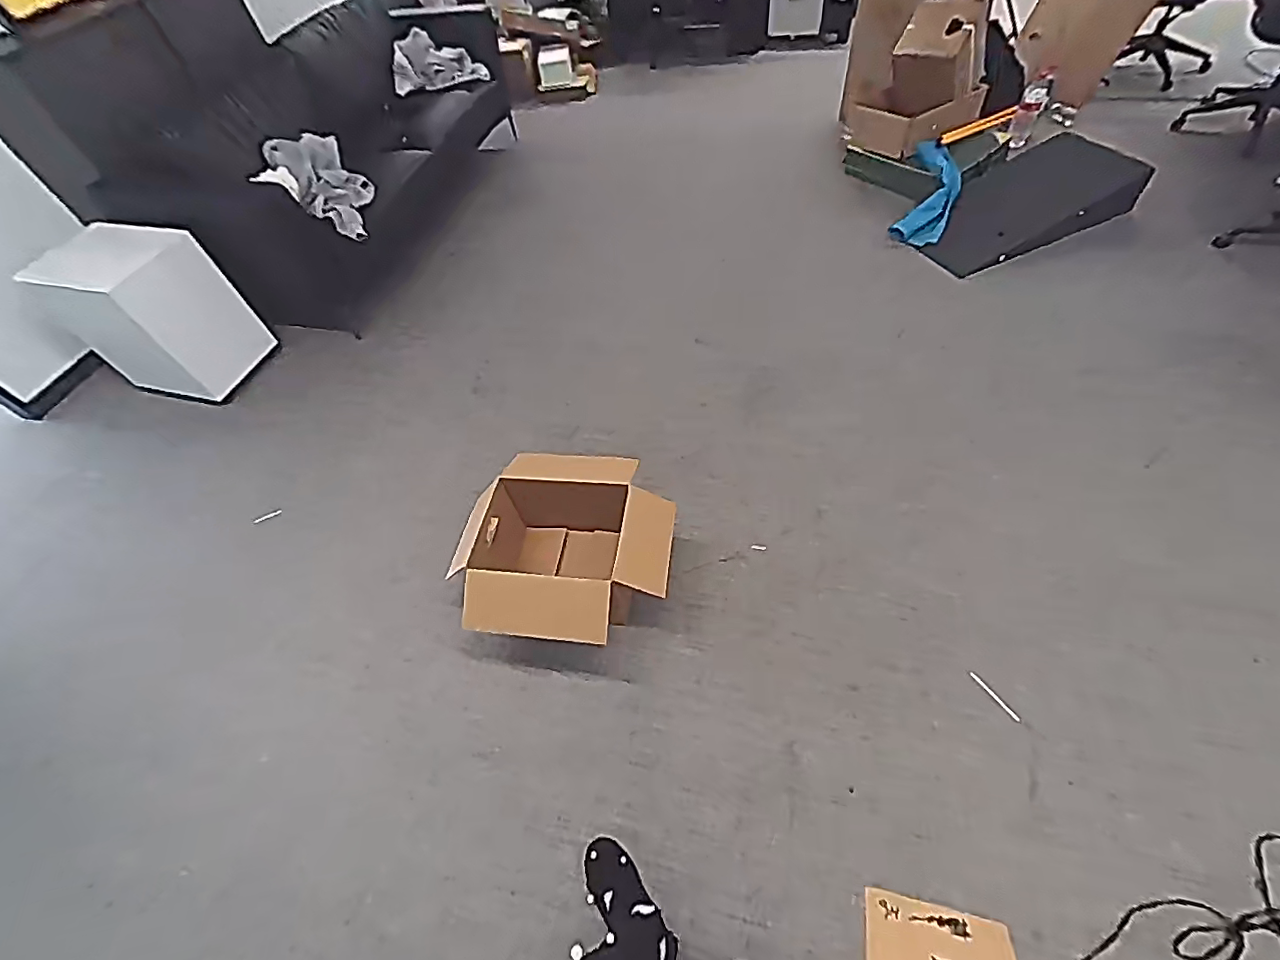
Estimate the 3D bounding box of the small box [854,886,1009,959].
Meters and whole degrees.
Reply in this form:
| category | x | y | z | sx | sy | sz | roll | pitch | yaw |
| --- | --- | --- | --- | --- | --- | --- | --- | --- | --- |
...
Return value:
| category | x | y | z | sx | sy | sz | roll | pitch | yaw |
| --- | --- | --- | --- | --- | --- | --- | --- | --- | --- |
| small box | 0.339 | 0.644 | 0.634 | 0.168 | 0.176 | 0.179 | 3 | 18 | 22 |
